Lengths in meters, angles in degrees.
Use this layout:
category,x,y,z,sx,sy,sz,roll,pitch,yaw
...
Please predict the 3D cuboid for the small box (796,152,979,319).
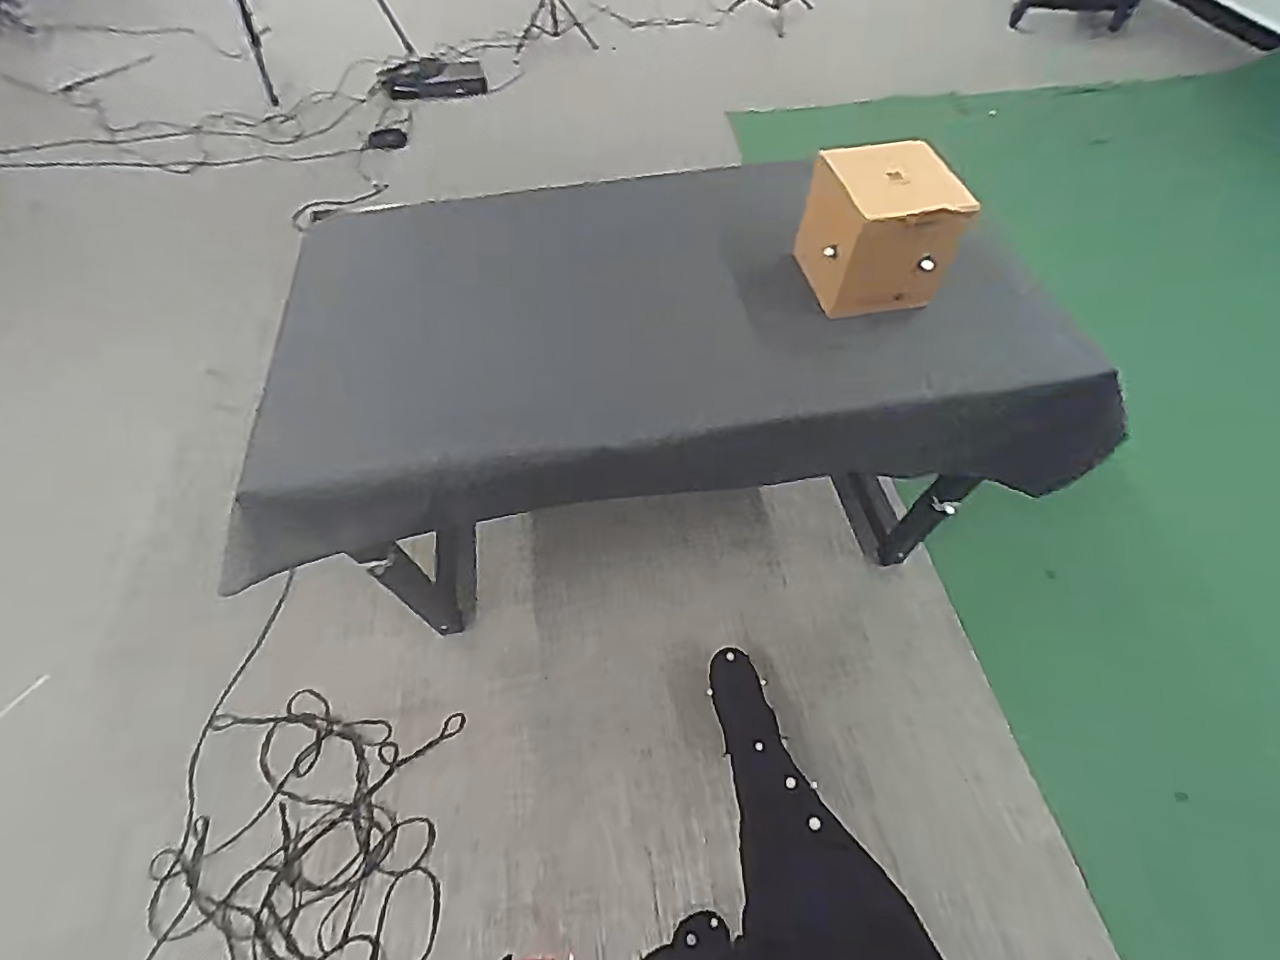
category,x,y,z,sx,sy,sz,roll,pitch,yaw
small box,0.357,-0.361,0.818,0.168,0.176,0.179,-8,57,-6
